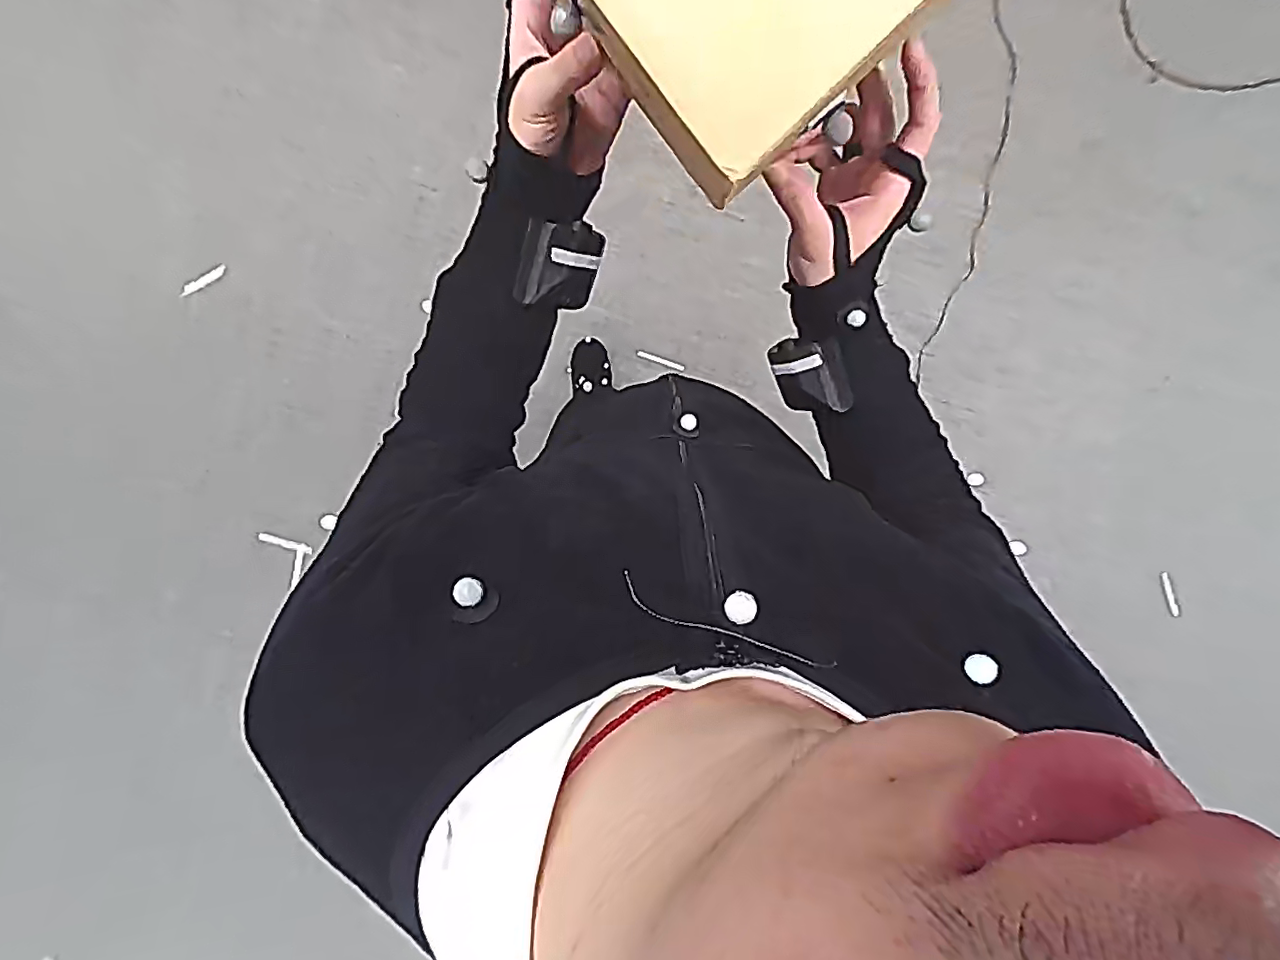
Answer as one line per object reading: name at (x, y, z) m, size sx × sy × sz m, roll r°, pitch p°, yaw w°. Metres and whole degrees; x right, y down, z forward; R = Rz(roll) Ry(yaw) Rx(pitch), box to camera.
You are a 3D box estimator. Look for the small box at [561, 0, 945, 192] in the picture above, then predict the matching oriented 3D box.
small box at (0.048, -0.254, 0.232) m, size 0.168 × 0.176 × 0.179 m, roll -39°, pitch 105°, yaw 20°
